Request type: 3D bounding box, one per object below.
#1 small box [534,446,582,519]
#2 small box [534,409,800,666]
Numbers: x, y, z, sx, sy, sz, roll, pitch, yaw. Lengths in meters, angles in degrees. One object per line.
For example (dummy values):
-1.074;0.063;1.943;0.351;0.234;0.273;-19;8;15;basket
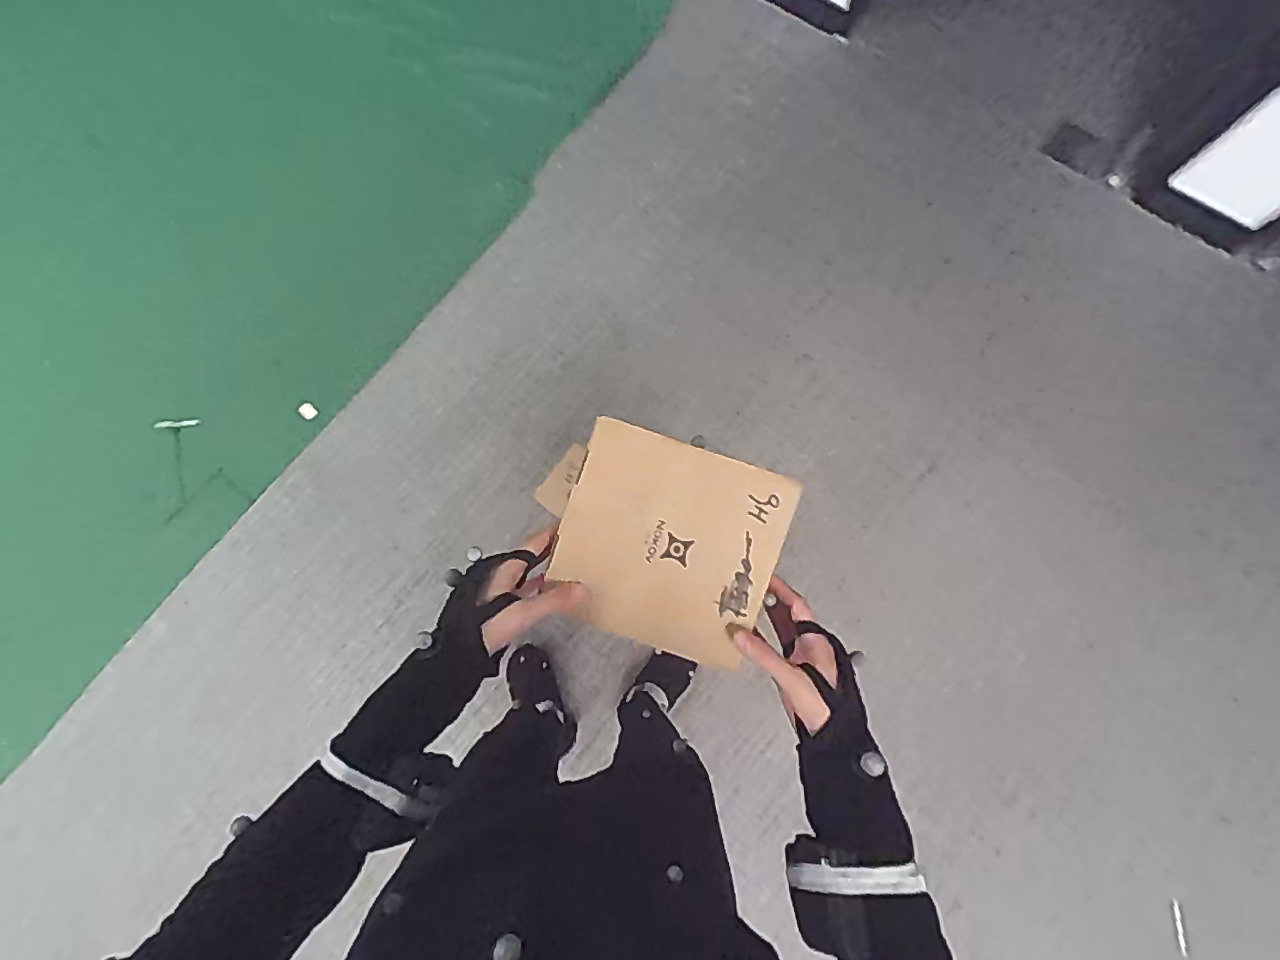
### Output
-0.125;0.046;1.324;0.179;0.176;0.168;37;83;11;small box
0.025;0.045;0.514;0.179;0.176;0.168;19;93;3;small box
